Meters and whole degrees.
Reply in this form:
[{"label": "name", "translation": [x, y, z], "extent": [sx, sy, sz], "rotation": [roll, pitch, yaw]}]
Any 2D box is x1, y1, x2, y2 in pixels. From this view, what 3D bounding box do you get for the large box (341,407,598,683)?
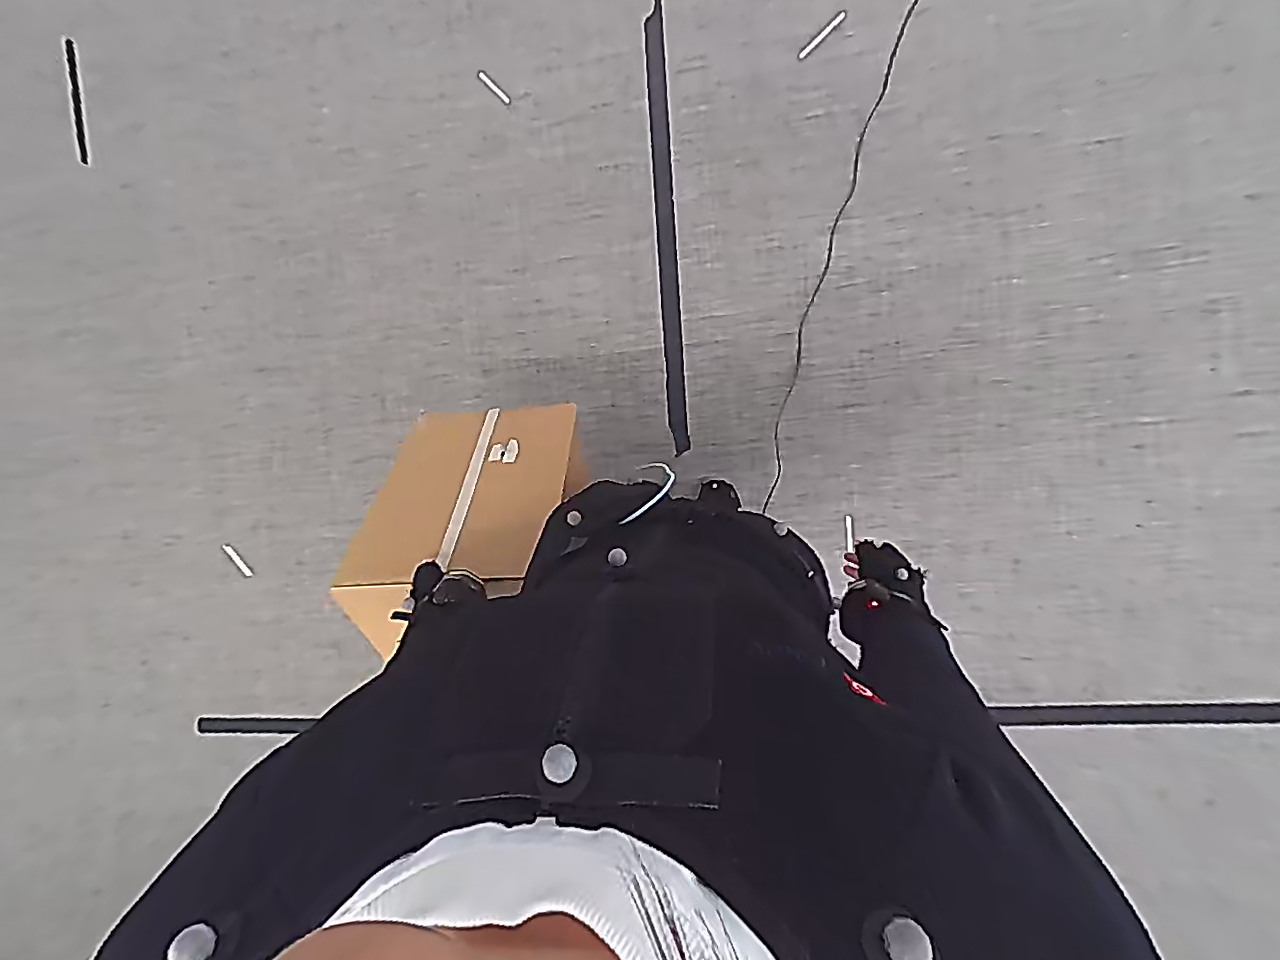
[{"label": "large box", "translation": [-0.262, 0.114, 1.002], "extent": [0.320, 0.408, 0.320], "rotation": [-3, 133, 4]}]
